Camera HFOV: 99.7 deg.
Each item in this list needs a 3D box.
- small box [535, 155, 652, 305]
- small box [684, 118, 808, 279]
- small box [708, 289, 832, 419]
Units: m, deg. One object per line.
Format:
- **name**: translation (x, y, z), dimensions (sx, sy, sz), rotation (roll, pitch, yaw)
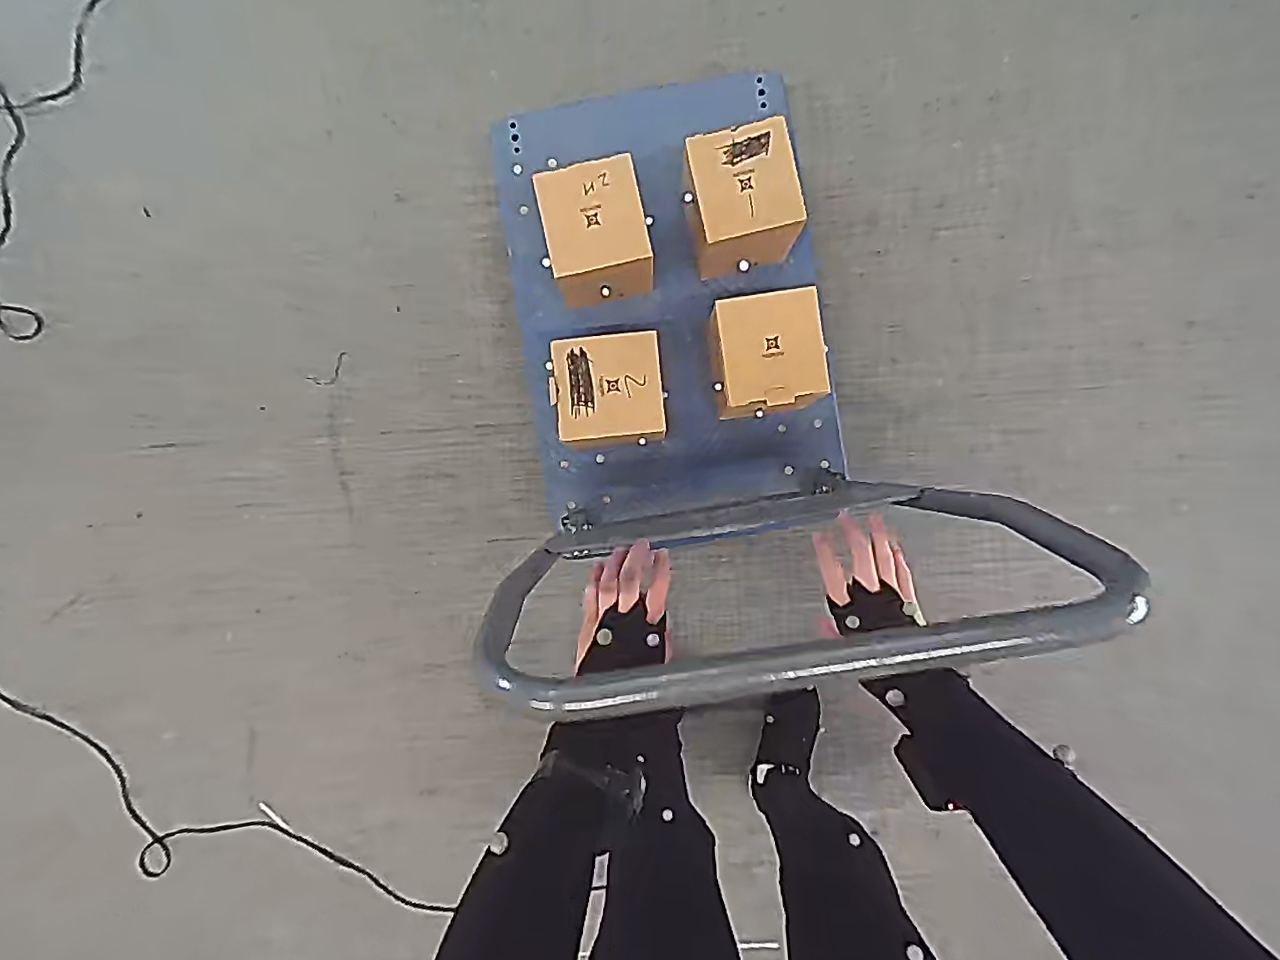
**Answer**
- **small box**: translation (-0.072, -0.423, 0.950), dimensions (0.168, 0.176, 0.179), rotation (-12, 90, 1)
- **small box**: translation (0.175, -0.478, 0.942), dimensions (0.168, 0.176, 0.179), rotation (-12, 91, 2)
- **small box**: translation (0.216, -0.211, 0.943), dimensions (0.168, 0.176, 0.179), rotation (-8, 90, 1)
